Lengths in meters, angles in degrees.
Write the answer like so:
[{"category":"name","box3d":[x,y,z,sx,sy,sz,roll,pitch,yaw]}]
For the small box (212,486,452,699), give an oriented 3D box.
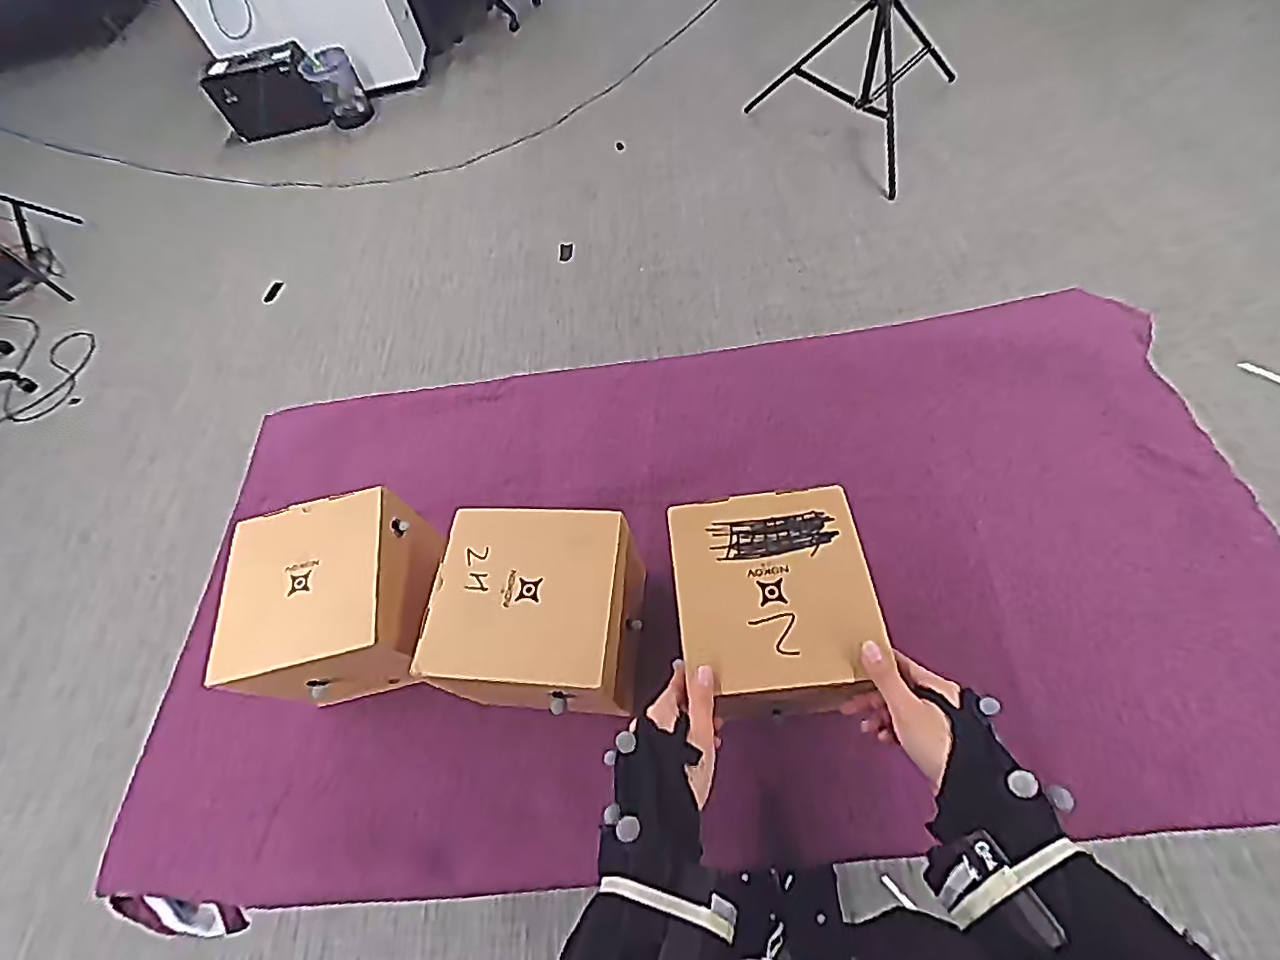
[{"category":"small box","box3d":[-0.326,0.137,0.612,0.168,0.176,0.179,-15,59,1]}]
